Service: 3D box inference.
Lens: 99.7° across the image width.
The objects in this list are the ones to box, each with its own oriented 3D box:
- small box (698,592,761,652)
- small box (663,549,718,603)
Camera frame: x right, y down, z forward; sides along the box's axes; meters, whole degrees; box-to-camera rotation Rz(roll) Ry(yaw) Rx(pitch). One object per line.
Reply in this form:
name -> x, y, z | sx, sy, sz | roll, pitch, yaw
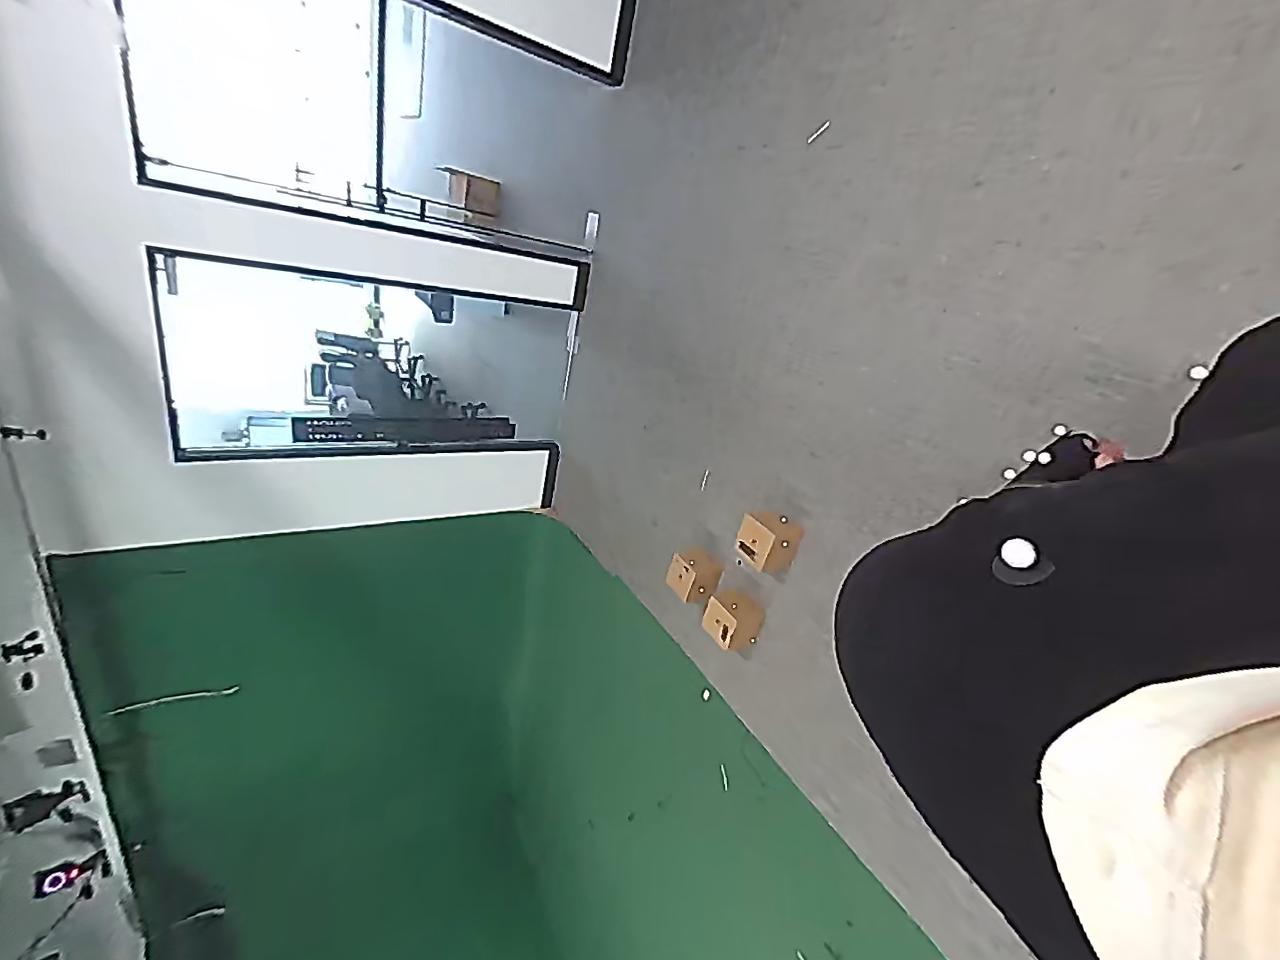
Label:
small box -> 0.381, 0.593, 2.292 | 0.179, 0.176, 0.168 | 42, 126, 45
small box -> 0.235, 0.438, 2.489 | 0.168, 0.176, 0.179 | 44, 128, 44
